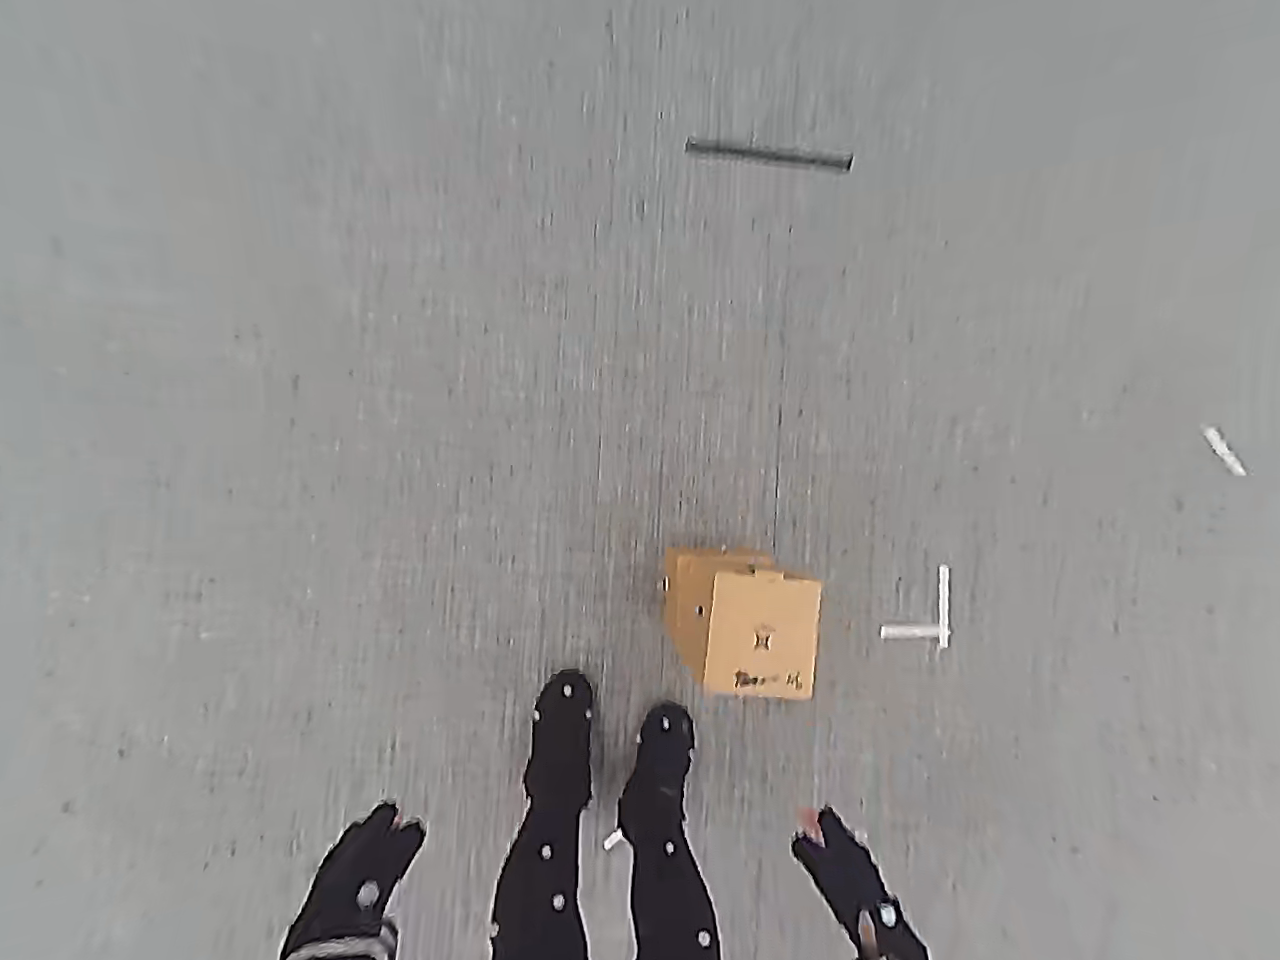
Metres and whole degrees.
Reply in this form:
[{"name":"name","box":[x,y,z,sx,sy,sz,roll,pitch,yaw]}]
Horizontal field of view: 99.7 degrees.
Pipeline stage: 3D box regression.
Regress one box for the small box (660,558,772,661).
[{"name":"small box","box":[0.138,0.237,1.026,0.179,0.176,0.168,1,86,-6]}]

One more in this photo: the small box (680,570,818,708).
[{"name":"small box","box":[0.165,0.243,0.864,0.168,0.176,0.179,7,85,-7]}]
